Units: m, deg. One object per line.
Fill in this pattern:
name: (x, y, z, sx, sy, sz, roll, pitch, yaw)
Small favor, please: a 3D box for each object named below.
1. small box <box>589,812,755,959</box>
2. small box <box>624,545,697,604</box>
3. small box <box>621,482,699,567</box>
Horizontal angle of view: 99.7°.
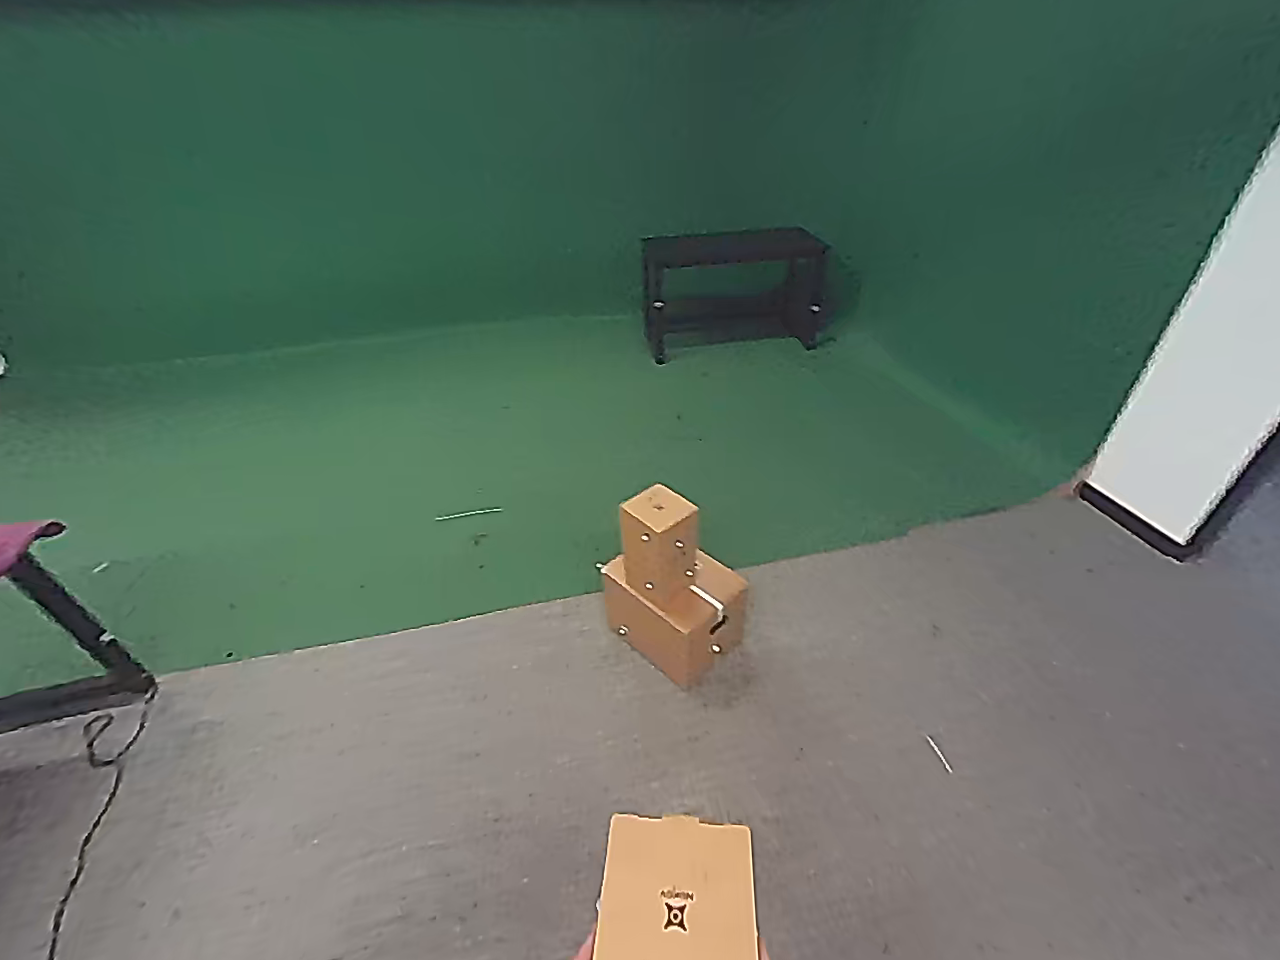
small box: (0.037, 0.514, 0.611, 0.168, 0.176, 0.179, 1, 34, 6)
small box: (0.068, 0.273, 1.747, 0.168, 0.176, 0.179, -31, 45, -32)
small box: (0.060, 0.141, 1.648, 0.168, 0.176, 0.179, -29, 44, -32)
